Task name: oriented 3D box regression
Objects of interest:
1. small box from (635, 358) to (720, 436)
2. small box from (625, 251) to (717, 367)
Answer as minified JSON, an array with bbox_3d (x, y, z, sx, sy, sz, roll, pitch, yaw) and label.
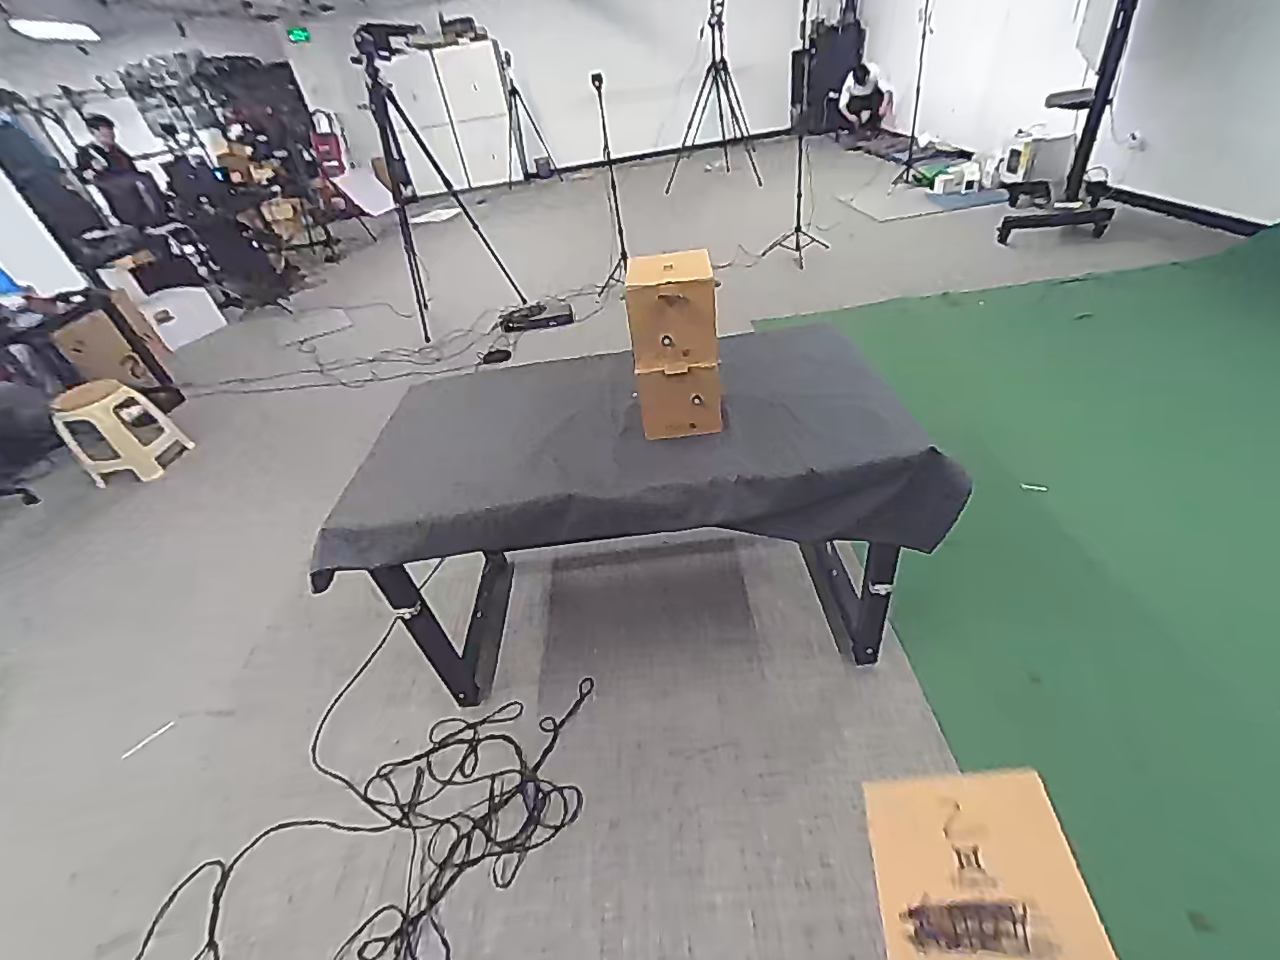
[{"bbox_3d":[0.083,-0.206,1.175,0.168,0.176,0.179,-5,37,5],"label":"small box"},{"bbox_3d":[0.065,-0.343,1.088,0.168,0.176,0.179,-5,39,5],"label":"small box"}]
